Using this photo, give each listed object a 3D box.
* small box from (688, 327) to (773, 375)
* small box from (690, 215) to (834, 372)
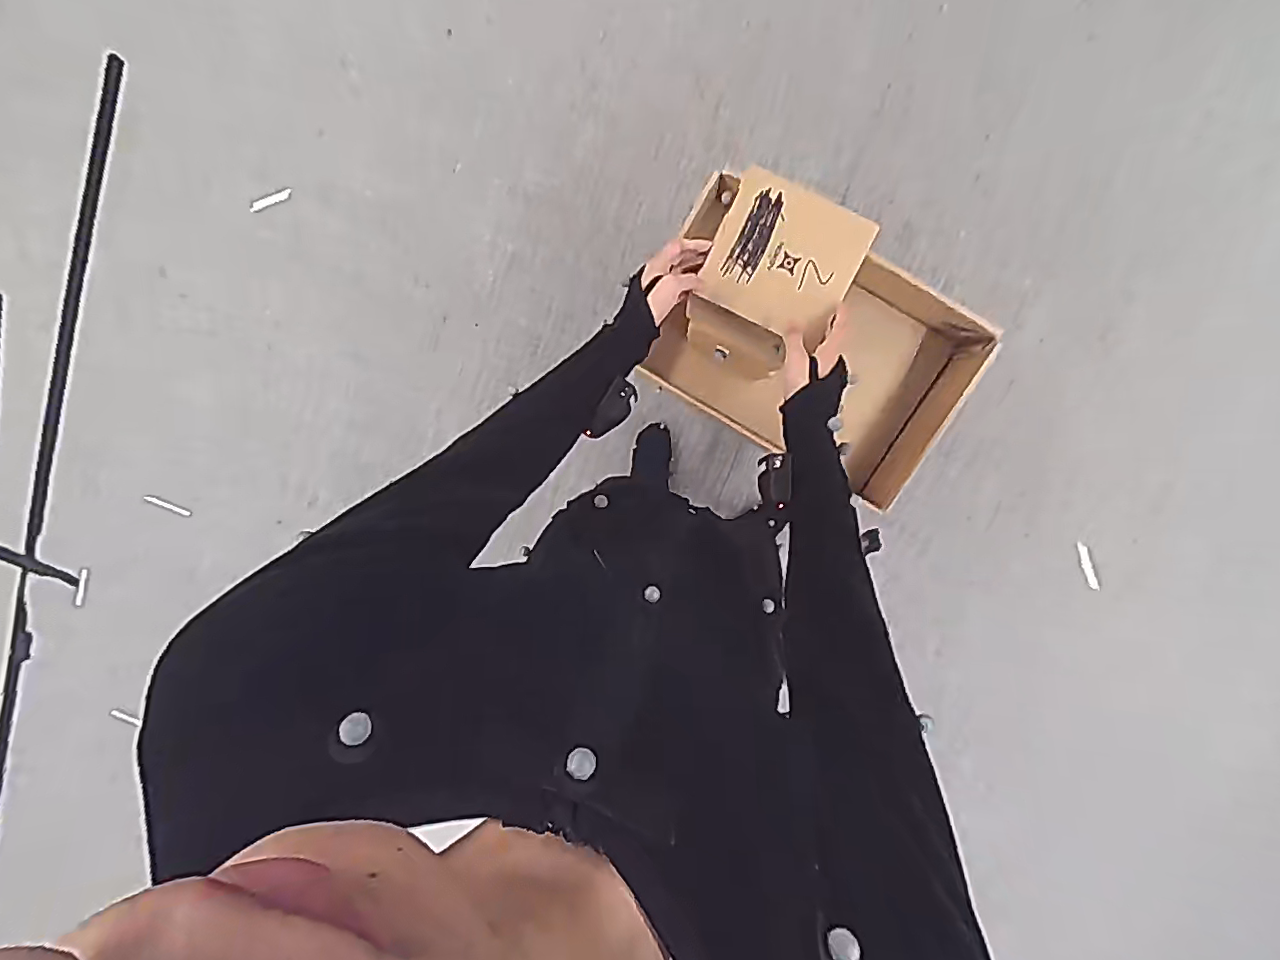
[{"bbox_3d":[0.205,-0.313,1.058,0.179,0.176,0.168,27,99,-2],"label":"small box"},{"bbox_3d":[0.187,-0.295,0.896,0.168,0.176,0.179,25,98,0],"label":"small box"}]
